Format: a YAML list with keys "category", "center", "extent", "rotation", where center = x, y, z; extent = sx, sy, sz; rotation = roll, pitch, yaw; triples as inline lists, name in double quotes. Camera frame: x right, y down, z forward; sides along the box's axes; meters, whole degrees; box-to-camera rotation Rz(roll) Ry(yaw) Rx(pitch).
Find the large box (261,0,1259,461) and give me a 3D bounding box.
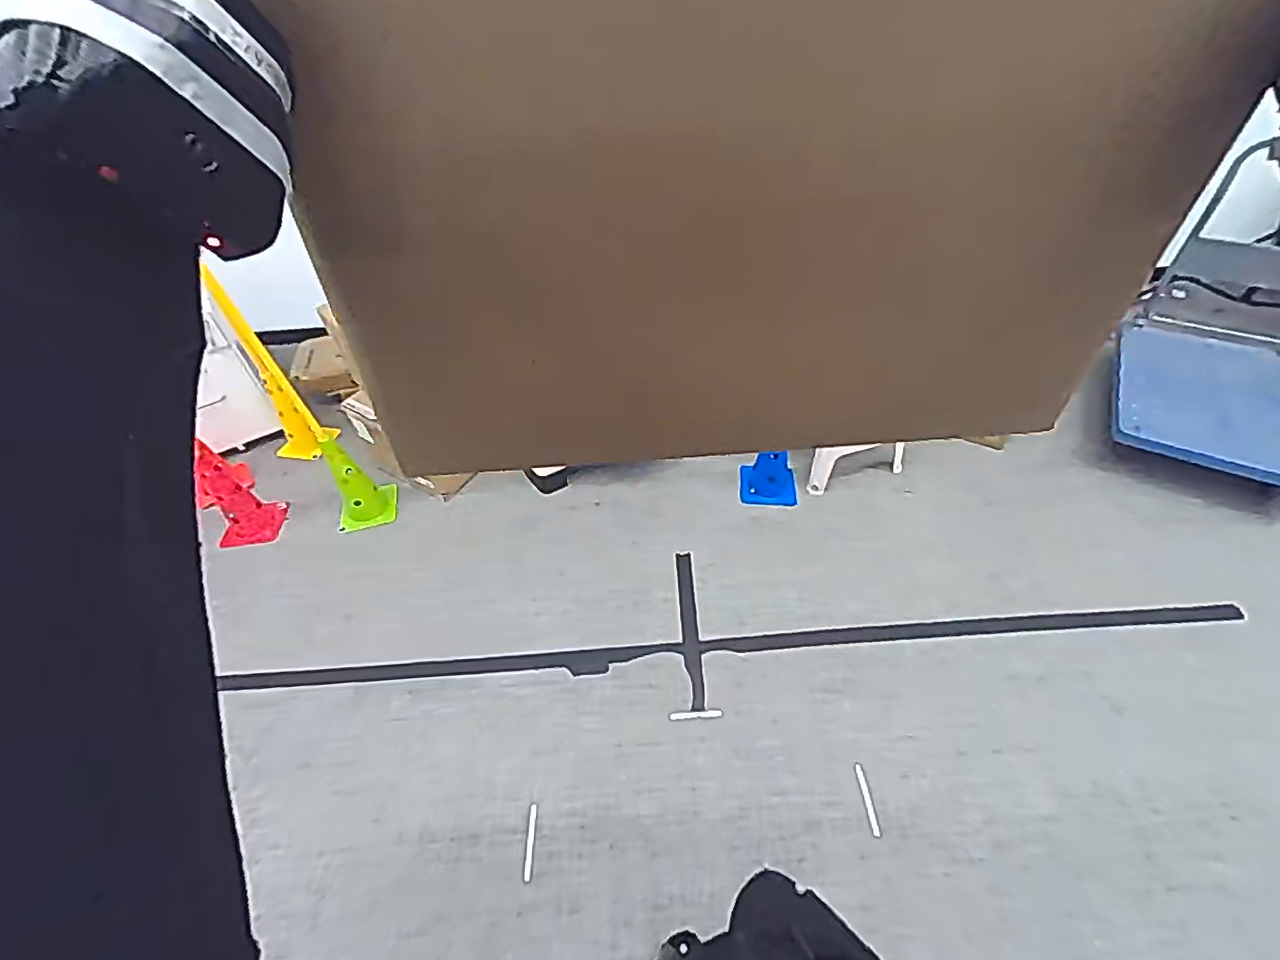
- category: "large box"
  center: [0.043, -0.234, 0.352]
  extent: [0.408, 0.320, 0.320]
  rotation: [-4, 42, -6]
